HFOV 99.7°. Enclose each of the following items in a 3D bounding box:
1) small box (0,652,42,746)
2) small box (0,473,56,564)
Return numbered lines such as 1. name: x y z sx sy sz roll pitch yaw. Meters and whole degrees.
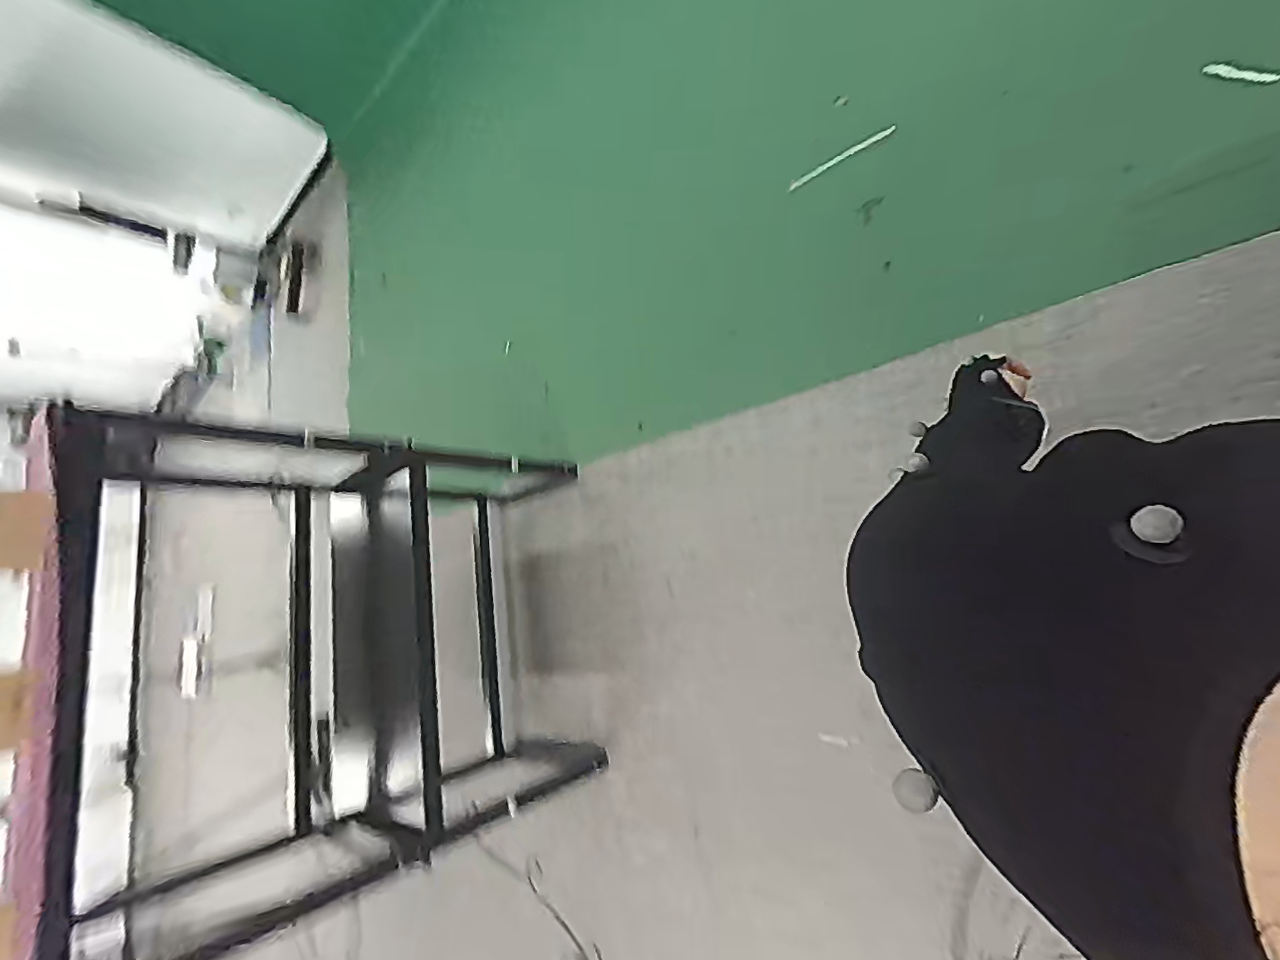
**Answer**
1. small box: -1.276 0.427 1.033 0.179 0.176 0.168 -15 76 39
2. small box: -1.288 0.079 1.071 0.168 0.176 0.179 -10 83 42
